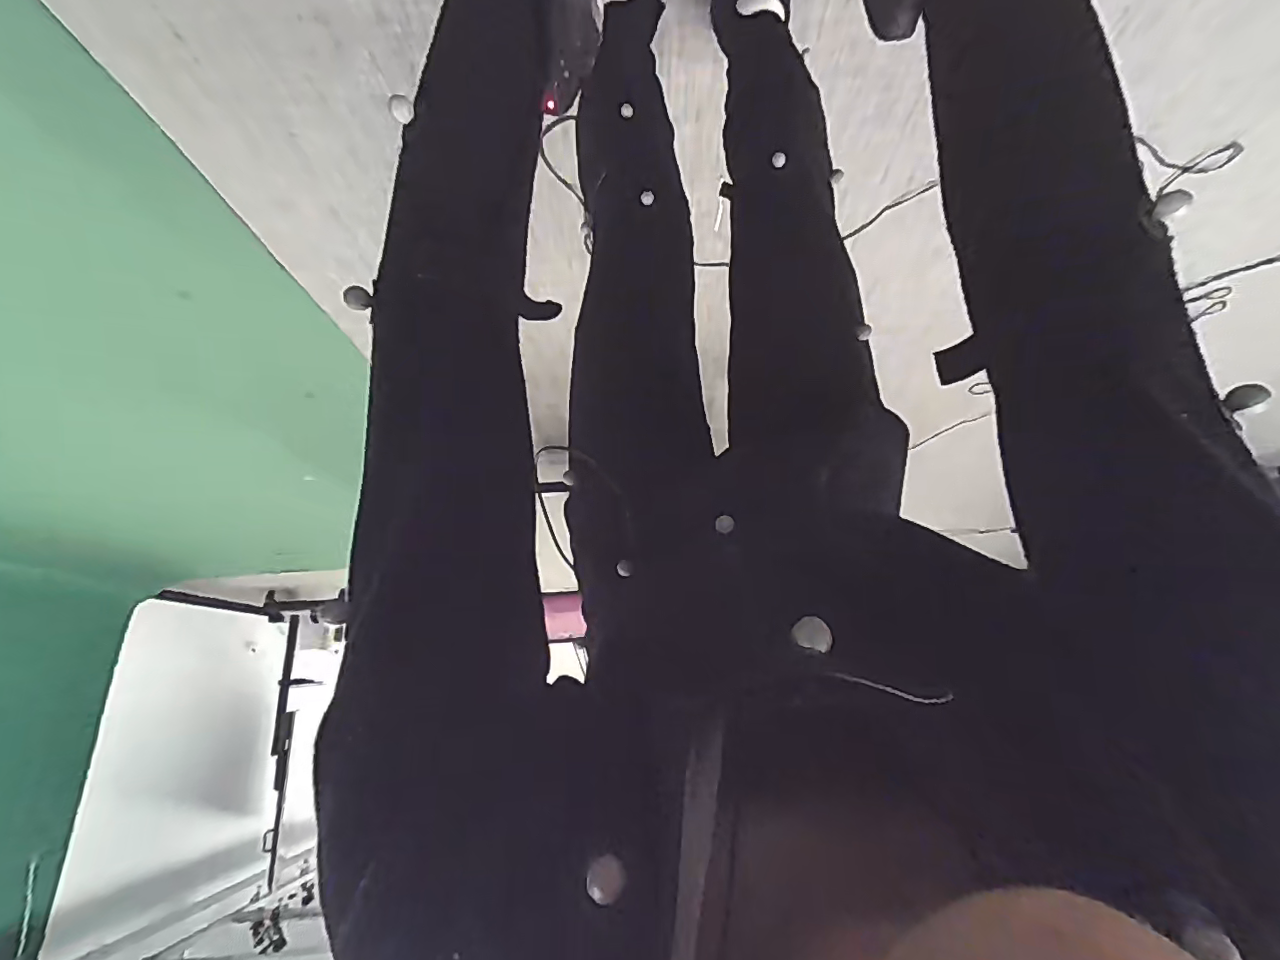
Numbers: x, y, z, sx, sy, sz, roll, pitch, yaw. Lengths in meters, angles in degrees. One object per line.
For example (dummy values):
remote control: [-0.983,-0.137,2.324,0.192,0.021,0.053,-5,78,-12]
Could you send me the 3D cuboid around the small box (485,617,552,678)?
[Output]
small box: [-0.384,0.543,1.738,0.179,0.176,0.168,-6,158,2]
